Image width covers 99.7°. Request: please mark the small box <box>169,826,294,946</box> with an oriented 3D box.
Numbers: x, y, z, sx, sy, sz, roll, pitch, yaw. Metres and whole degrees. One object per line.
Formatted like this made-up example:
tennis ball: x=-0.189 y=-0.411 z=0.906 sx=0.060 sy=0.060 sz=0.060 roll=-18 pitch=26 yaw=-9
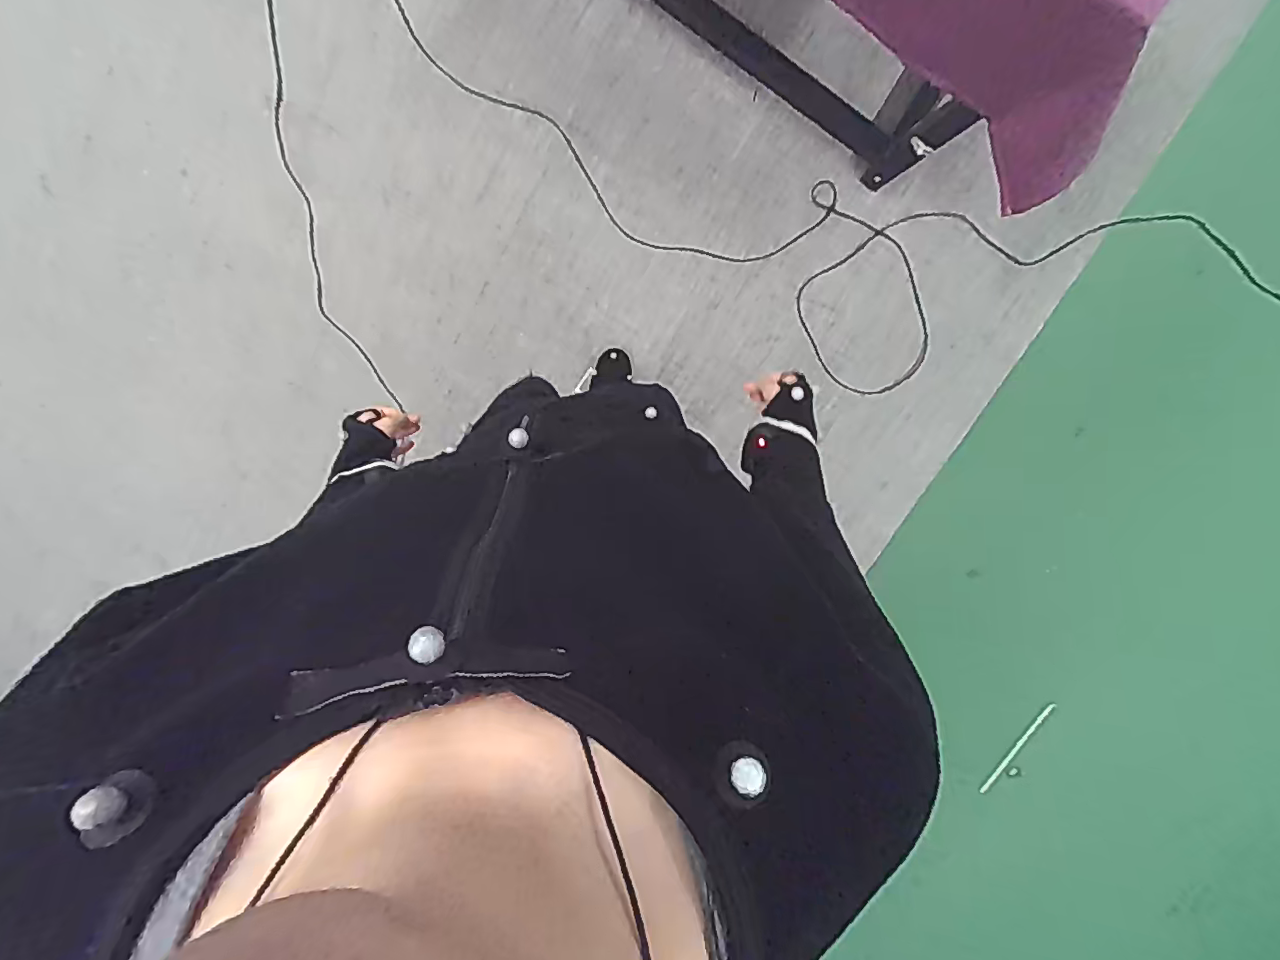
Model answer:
small box: x=-1.079 y=1.071 z=1.441 sx=0.179 sy=0.176 sz=0.168 roll=28 pitch=99 yaw=-9
